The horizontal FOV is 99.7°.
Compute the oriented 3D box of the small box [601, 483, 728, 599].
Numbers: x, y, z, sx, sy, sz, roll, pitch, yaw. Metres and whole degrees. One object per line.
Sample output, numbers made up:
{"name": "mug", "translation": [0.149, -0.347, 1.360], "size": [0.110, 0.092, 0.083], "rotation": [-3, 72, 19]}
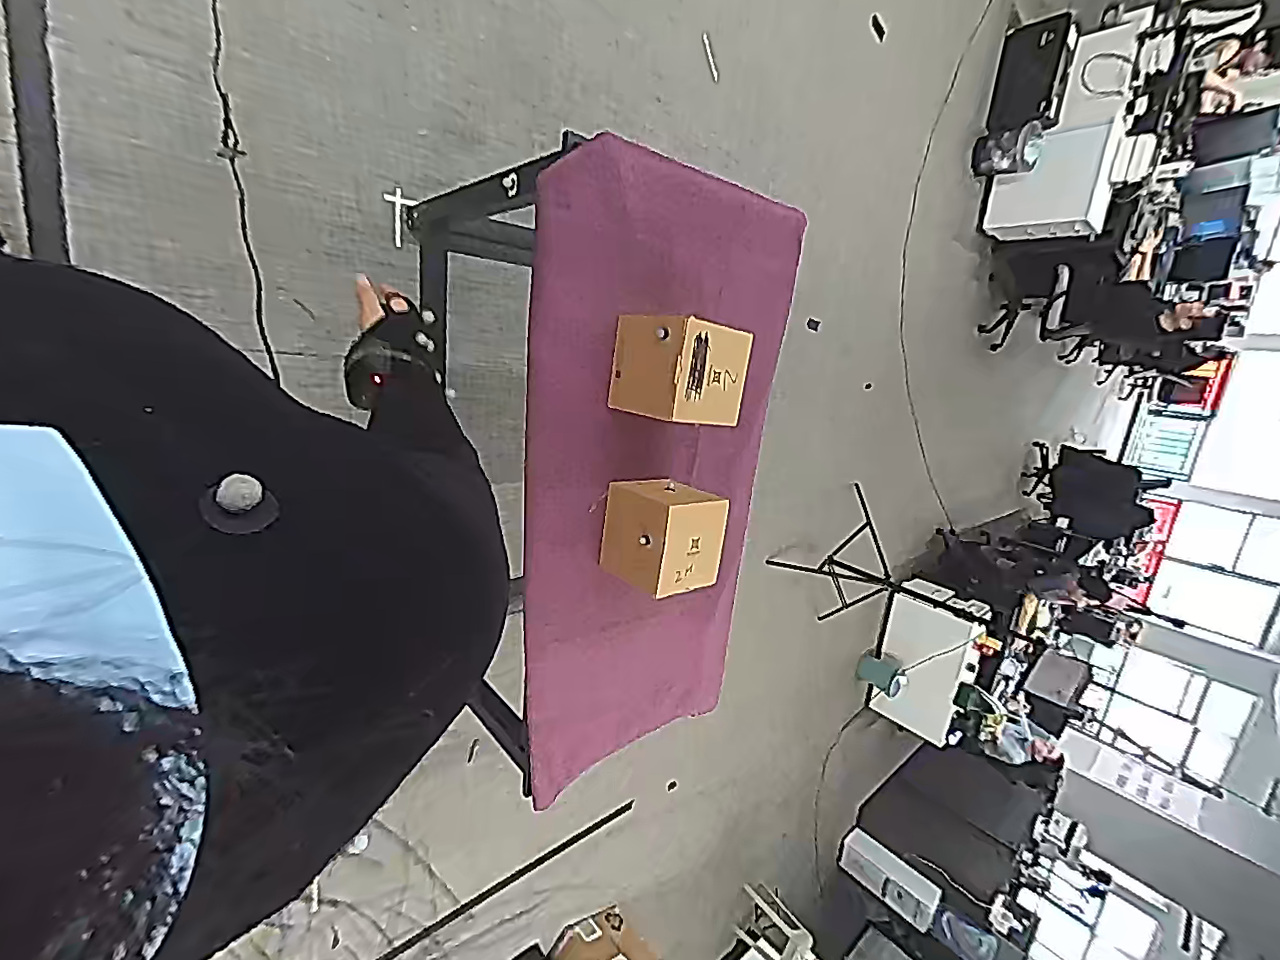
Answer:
{"name": "small box", "translation": [0.042, 0.105, 1.044], "size": [0.168, 0.176, 0.179], "rotation": [-2, 106, -42]}
